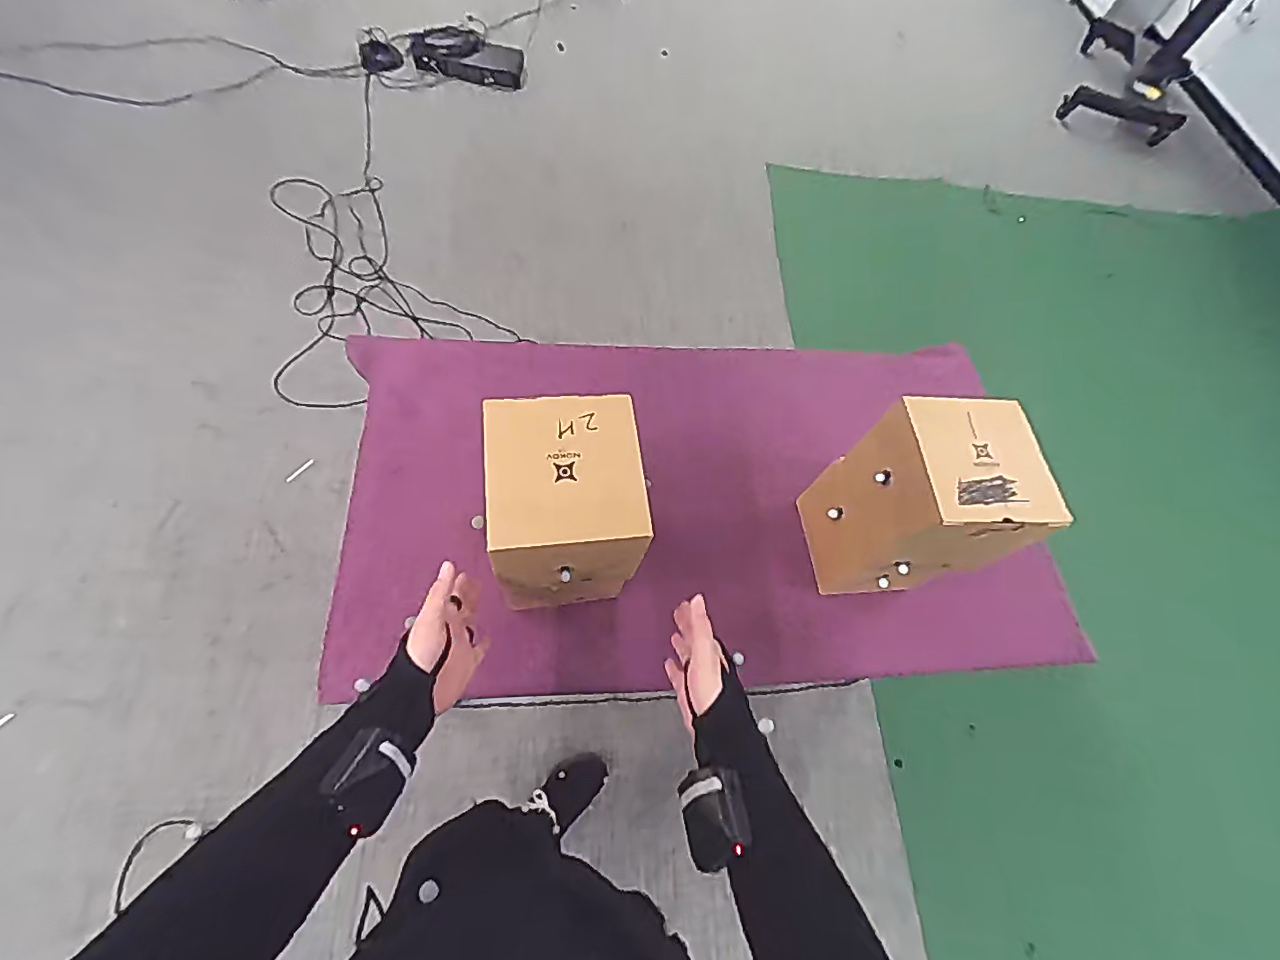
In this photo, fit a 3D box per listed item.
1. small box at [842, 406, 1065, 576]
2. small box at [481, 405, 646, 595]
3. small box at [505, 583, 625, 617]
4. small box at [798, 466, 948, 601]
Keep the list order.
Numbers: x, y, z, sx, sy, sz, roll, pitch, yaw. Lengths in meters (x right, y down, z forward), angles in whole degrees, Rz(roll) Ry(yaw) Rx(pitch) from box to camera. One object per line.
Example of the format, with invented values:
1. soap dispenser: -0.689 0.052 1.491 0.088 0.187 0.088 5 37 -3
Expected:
1. small box: 0.395 0.023 0.718 0.168 0.176 0.179 1 61 -7
2. small box: -0.093 0.031 0.640 0.168 0.176 0.179 -3 64 -11
3. small box: -0.118 0.090 0.796 0.168 0.176 0.179 -5 66 -10
4. small box: 0.375 0.090 0.867 0.168 0.176 0.179 -2 62 -9
